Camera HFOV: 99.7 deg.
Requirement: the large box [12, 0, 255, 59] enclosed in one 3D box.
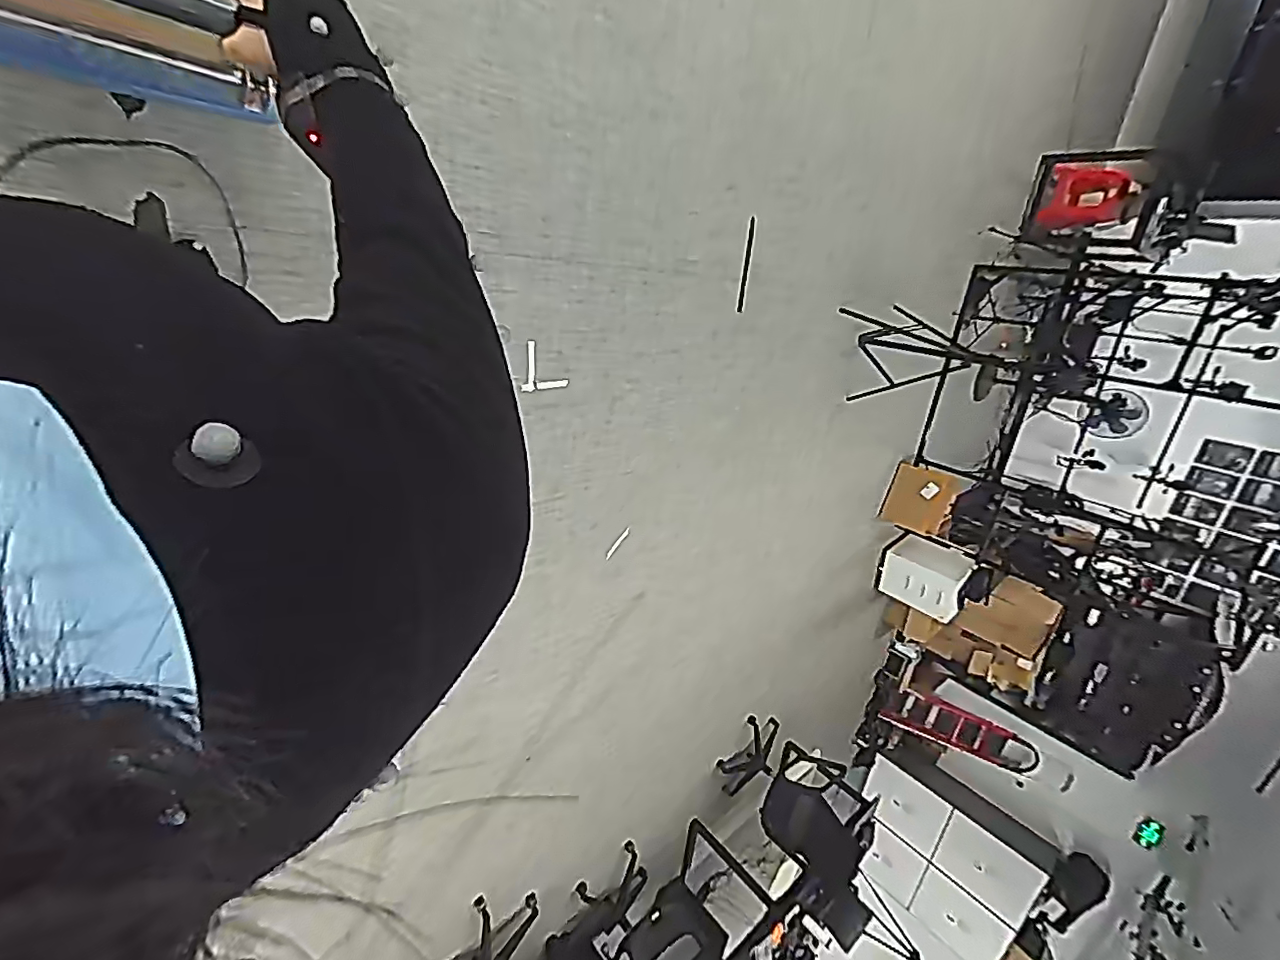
[{"bbox_3d":[-0.751,-0.781,0.647,0.408,0.320,0.320,-11,118,-43],"label":"large box"}]
